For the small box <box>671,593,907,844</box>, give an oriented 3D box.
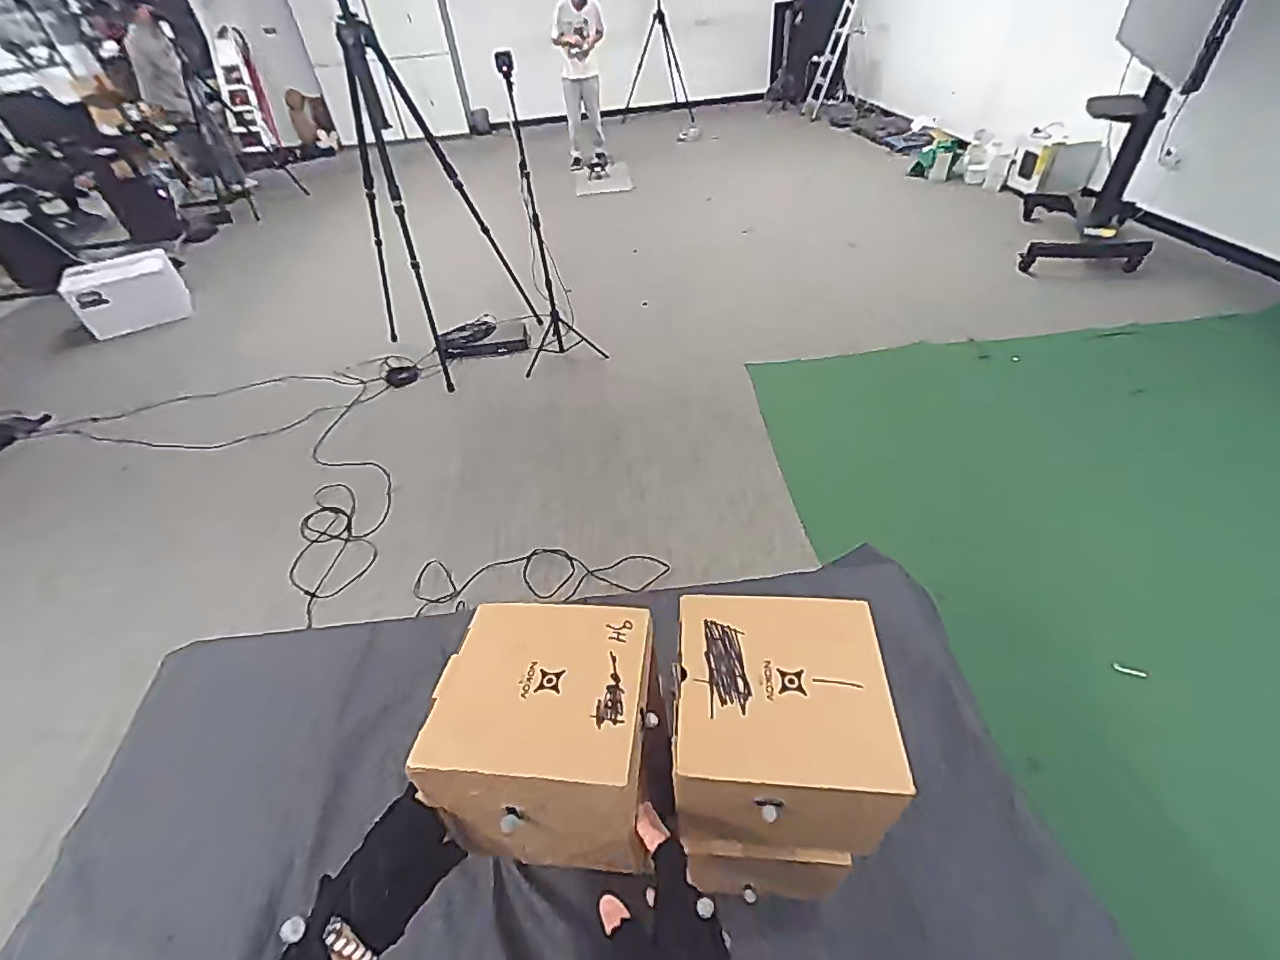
[{"bbox_3d":[0.124,0.227,0.515,0.179,0.176,0.168,1,44,7],"label":"small box"}]
